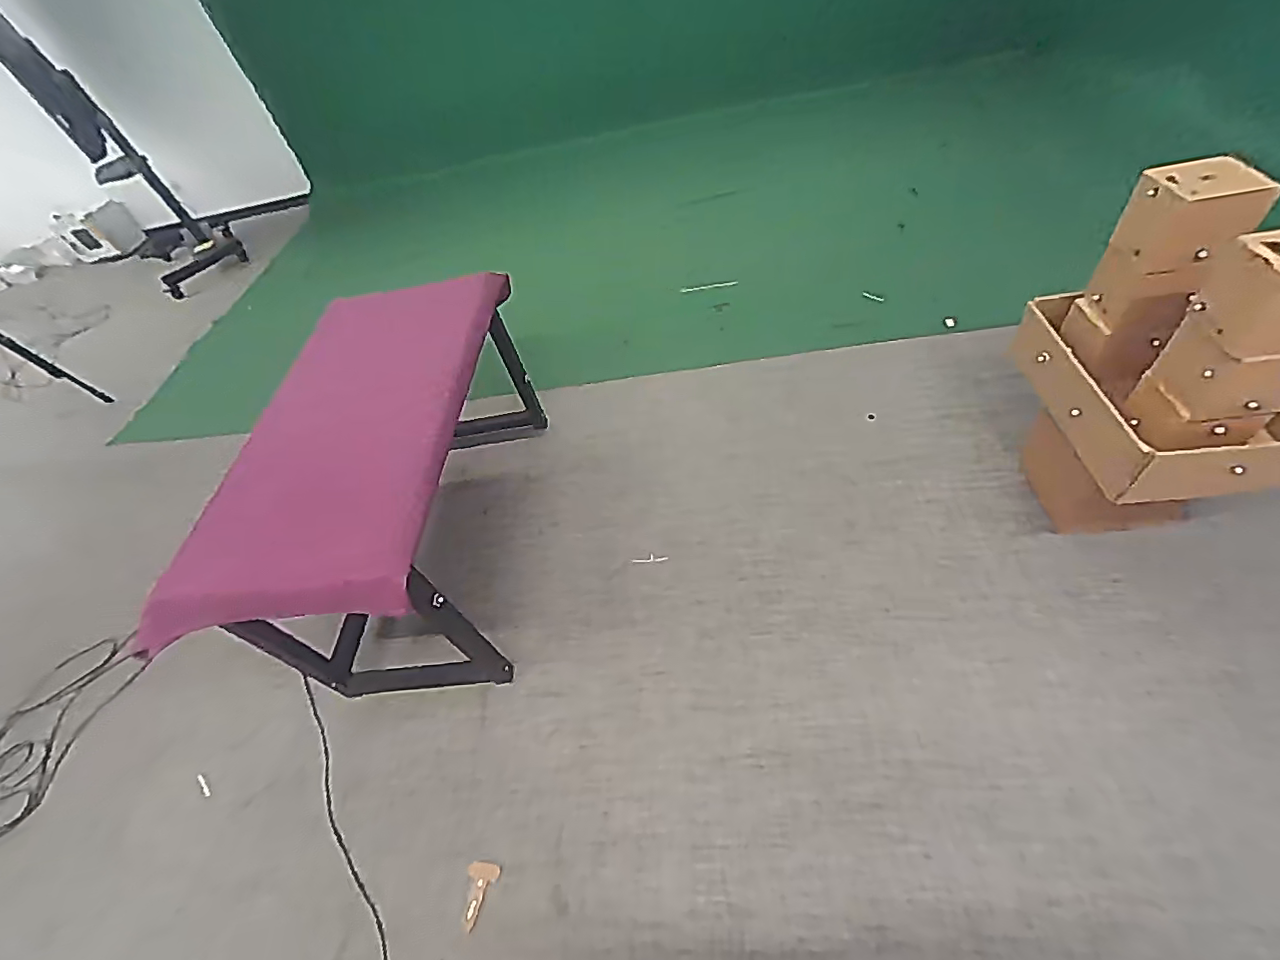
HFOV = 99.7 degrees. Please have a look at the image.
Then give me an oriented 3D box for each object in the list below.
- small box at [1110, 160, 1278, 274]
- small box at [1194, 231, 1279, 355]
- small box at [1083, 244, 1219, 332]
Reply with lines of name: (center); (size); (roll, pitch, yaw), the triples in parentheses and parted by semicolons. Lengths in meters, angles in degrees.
small box: (1.240, -0.594, 1.230); (0.179, 0.176, 0.168); (-5, 49, 7)
small box: (1.230, -0.356, 1.032); (0.179, 0.176, 0.168); (-4, 52, 10)
small box: (1.272, -0.491, 1.353); (0.179, 0.176, 0.168); (-4, 50, 11)
